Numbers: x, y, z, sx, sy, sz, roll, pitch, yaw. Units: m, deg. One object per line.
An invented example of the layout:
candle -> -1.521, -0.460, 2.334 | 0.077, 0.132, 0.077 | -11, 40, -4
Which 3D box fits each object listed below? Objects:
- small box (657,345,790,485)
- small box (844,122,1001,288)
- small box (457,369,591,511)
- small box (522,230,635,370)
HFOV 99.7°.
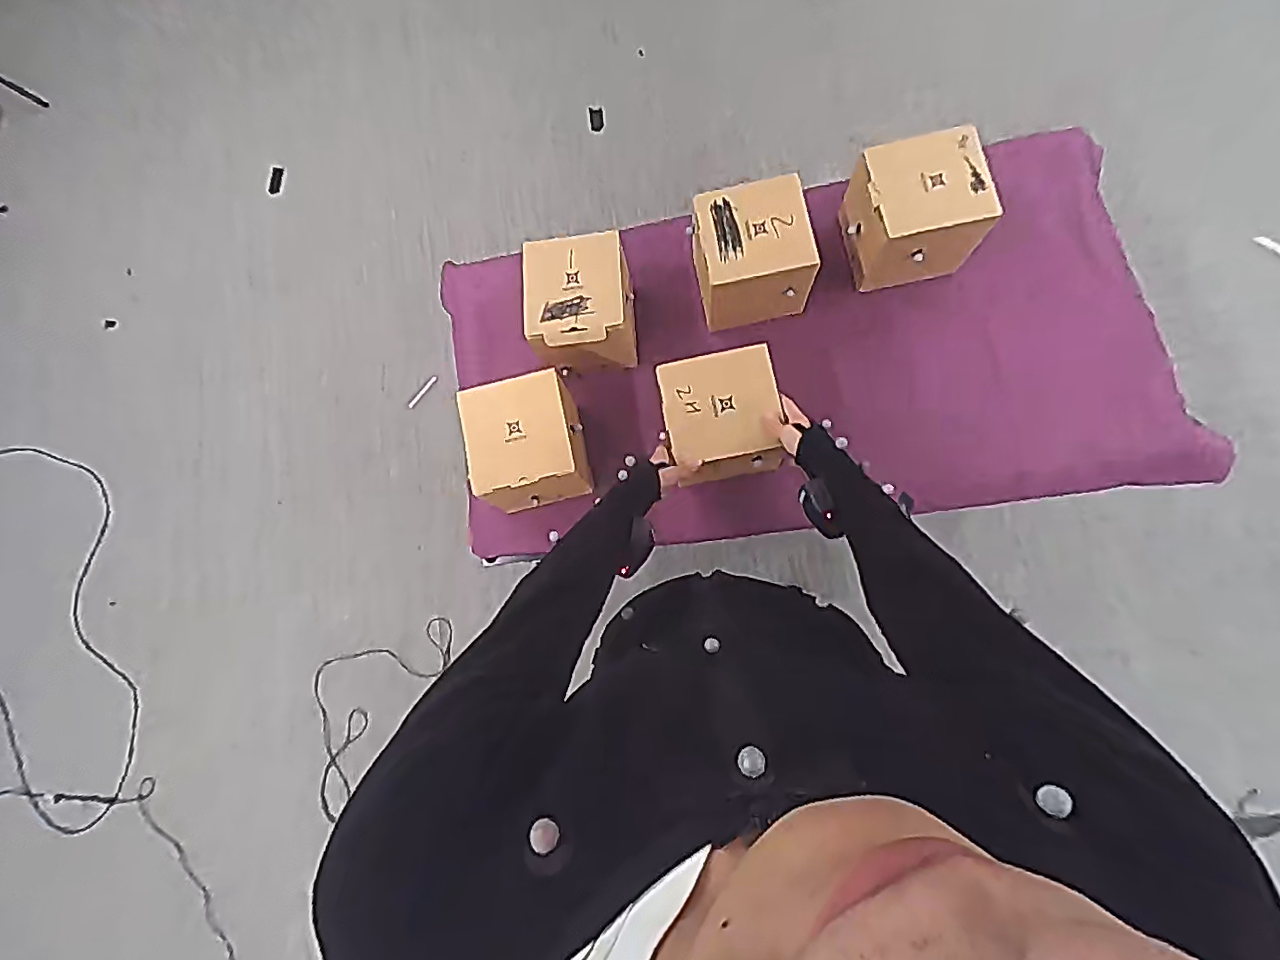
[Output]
small box -> 0.130, -0.097, 0.884 | 0.179, 0.176, 0.168 | -11, 78, 5
small box -> 0.457, -0.449, 0.912 | 0.179, 0.176, 0.168 | -11, 80, 6
small box -> -0.188, -0.059, 0.913 | 0.168, 0.176, 0.179 | -14, 78, 2
small box -> -0.102, -0.303, 0.953 | 0.168, 0.176, 0.179 | -5, 78, 5
